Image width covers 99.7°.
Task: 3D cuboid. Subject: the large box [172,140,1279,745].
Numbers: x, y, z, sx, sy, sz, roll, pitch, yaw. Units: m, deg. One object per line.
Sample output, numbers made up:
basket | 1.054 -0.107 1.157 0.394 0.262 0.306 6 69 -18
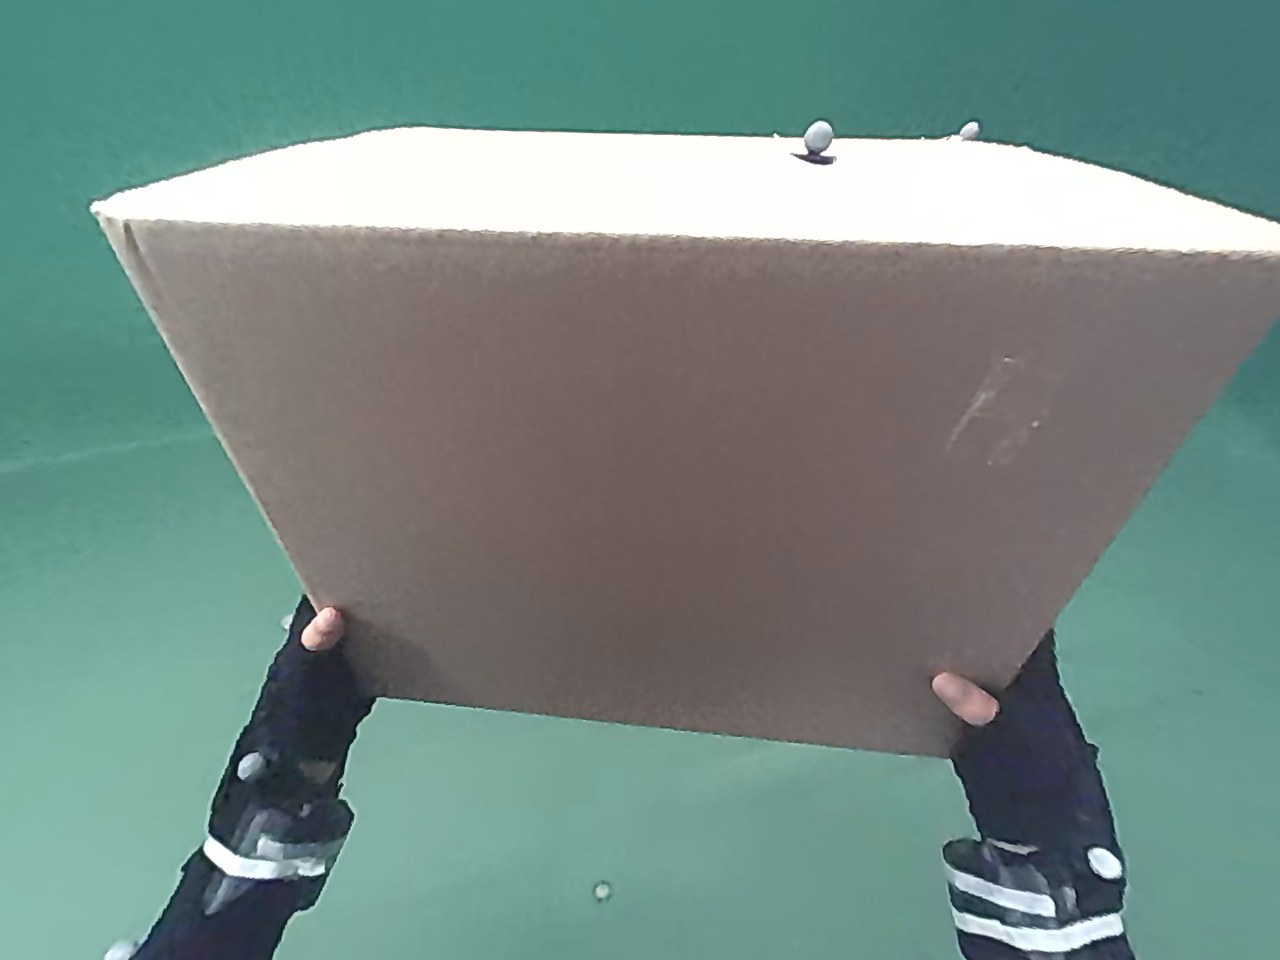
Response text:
large box | 0.030 -0.047 0.394 0.408 0.320 0.320 5 38 4
